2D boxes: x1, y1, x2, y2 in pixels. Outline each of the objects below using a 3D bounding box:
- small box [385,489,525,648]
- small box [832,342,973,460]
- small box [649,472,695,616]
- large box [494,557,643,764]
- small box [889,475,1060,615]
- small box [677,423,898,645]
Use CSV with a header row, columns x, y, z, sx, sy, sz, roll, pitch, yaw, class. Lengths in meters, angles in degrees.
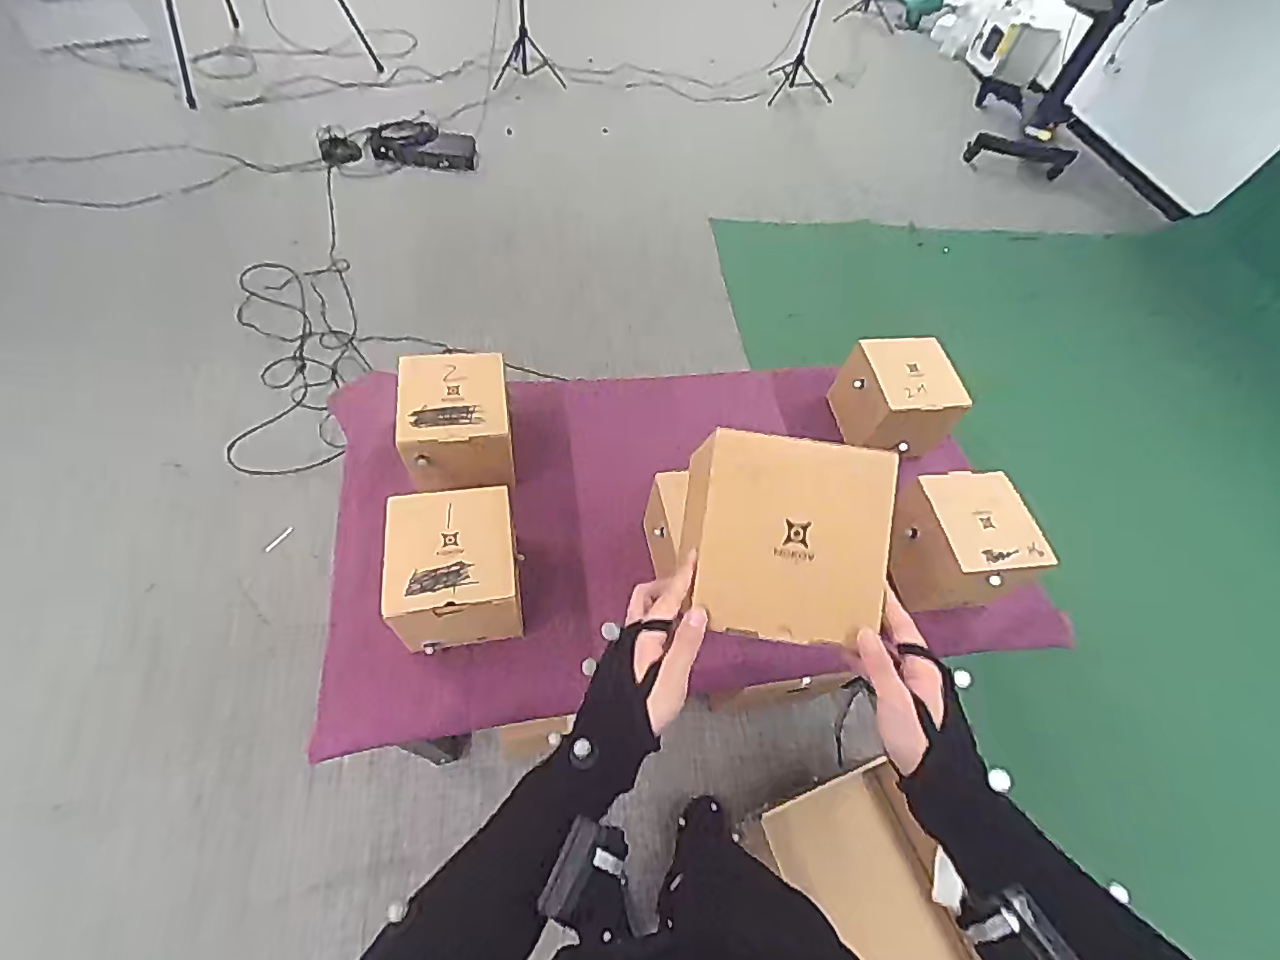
x,y,z,sx,sy,sz,roll,pitch,yaw,class
-0.261,0.135,0.793,0.168,0.176,0.179,-5,57,-12,small box
0.510,-0.155,1.084,0.168,0.176,0.179,-4,59,-7,small box
0.114,0.100,0.870,0.168,0.176,0.179,-6,58,-10,small box
-0.197,0.461,1.386,0.320,0.320,0.408,-6,57,-12,large box
0.538,0.111,0.917,0.168,0.176,0.179,-3,55,-8,small box
0.134,0.051,0.549,0.168,0.176,0.179,8,87,-1,small box
